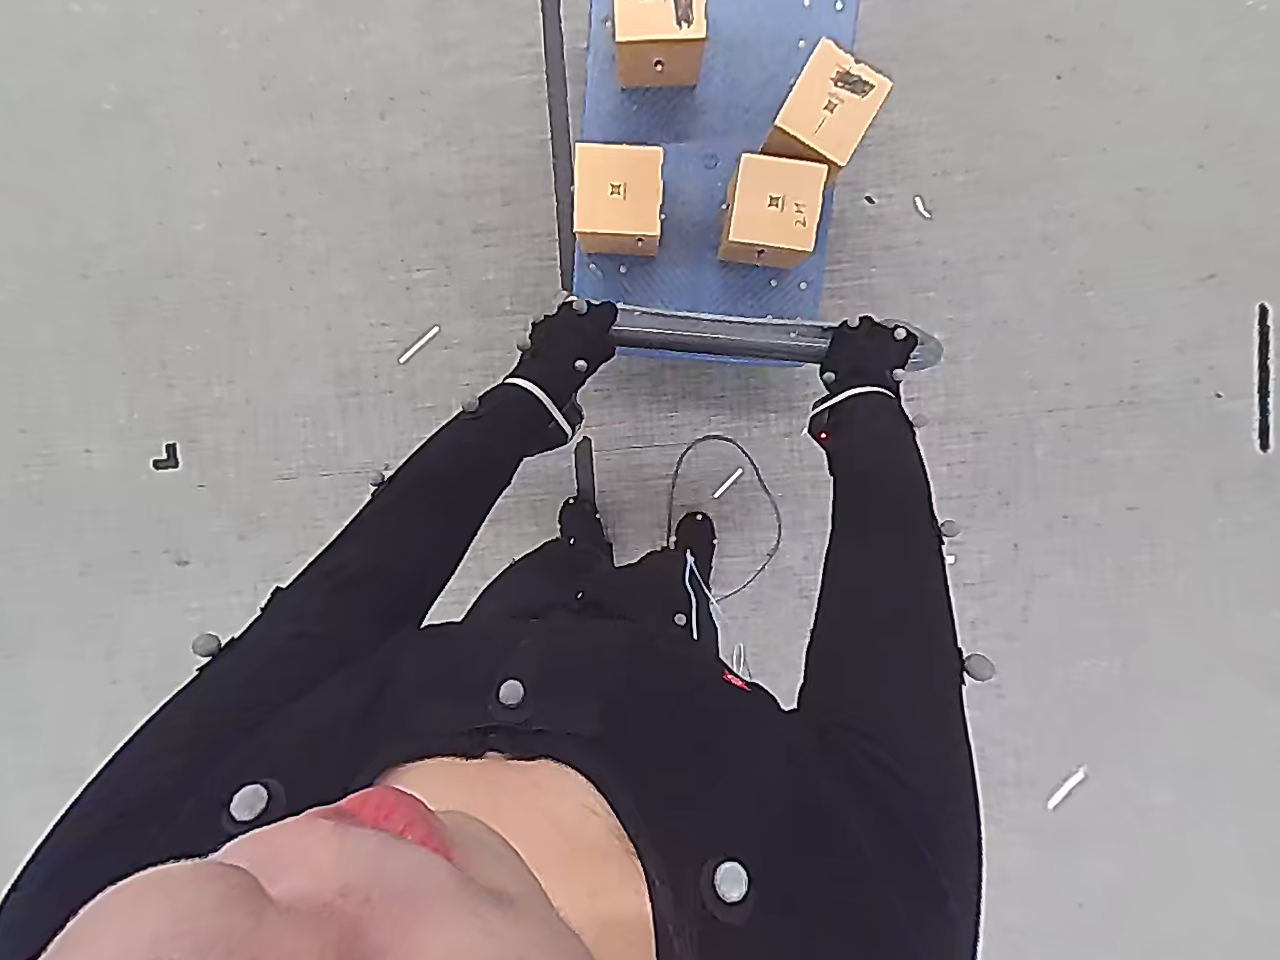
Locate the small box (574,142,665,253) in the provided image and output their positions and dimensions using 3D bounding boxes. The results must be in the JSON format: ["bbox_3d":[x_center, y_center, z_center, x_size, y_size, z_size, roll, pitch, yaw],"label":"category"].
[{"bbox_3d":[-0.042,-0.588,1.144,0.179,0.176,0.168,2,100,-2],"label":"small box"}]

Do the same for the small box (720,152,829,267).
[{"bbox_3d":[0.274,-0.562,1.145,0.179,0.176,0.168,8,100,-1],"label":"small box"}]

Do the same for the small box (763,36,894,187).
[{"bbox_3d":[0.375,-0.739,1.115,0.168,0.176,0.179,30,100,-4],"label":"small box"}]
